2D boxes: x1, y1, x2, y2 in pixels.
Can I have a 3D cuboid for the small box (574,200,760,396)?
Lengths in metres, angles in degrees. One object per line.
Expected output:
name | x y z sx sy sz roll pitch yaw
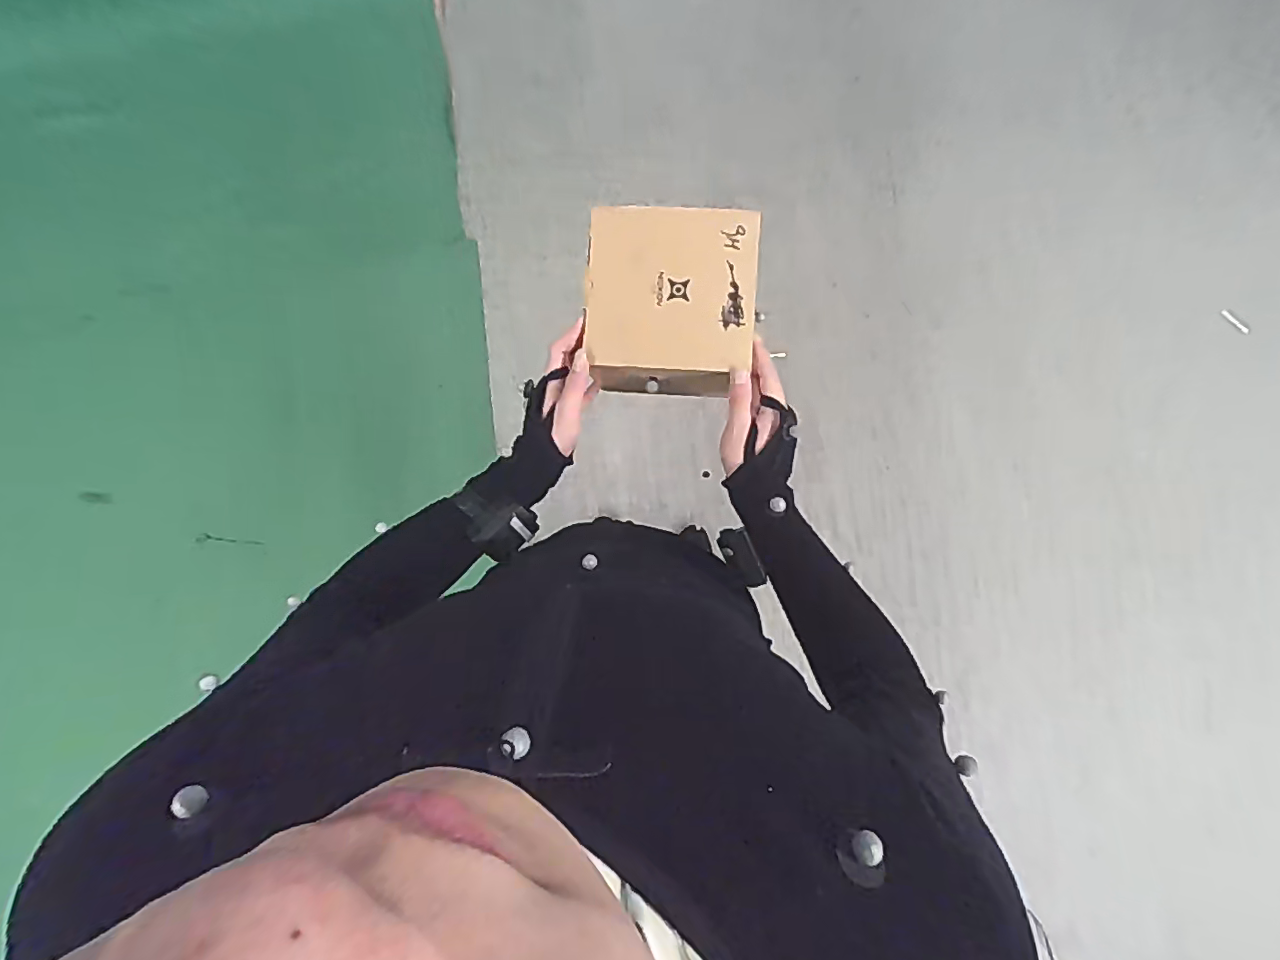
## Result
small box | 0.032 -0.192 0.614 0.179 0.176 0.168 4 90 4
